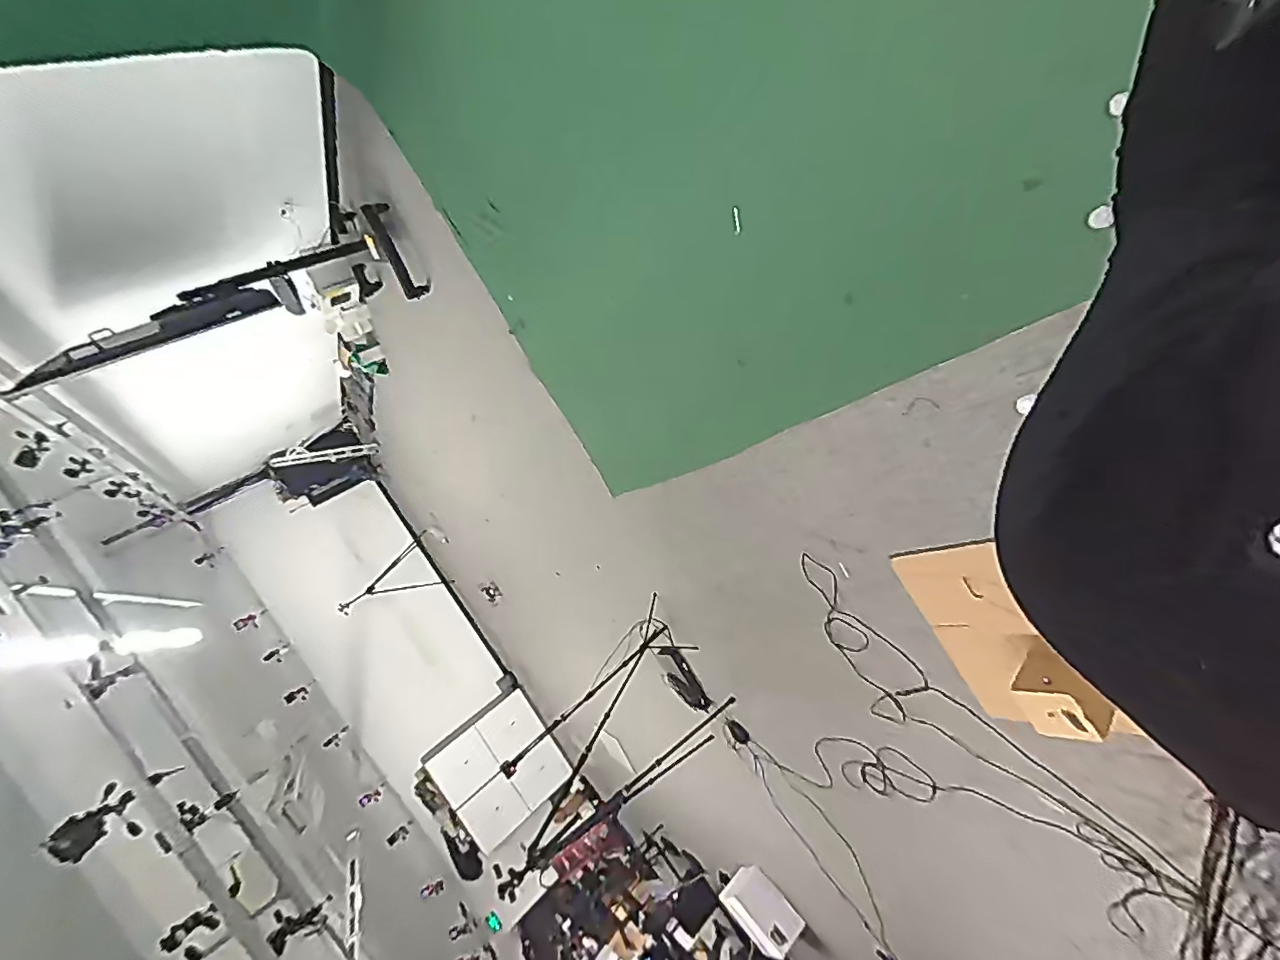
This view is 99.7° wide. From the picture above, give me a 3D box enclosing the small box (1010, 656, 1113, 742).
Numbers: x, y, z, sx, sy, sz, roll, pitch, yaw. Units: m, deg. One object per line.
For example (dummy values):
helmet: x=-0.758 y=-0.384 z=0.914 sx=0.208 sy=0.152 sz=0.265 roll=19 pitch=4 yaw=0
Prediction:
small box: x=1.257 y=0.641 z=1.605 sx=0.168 sy=0.176 sz=0.179 roll=55 pitch=150 yaw=0
